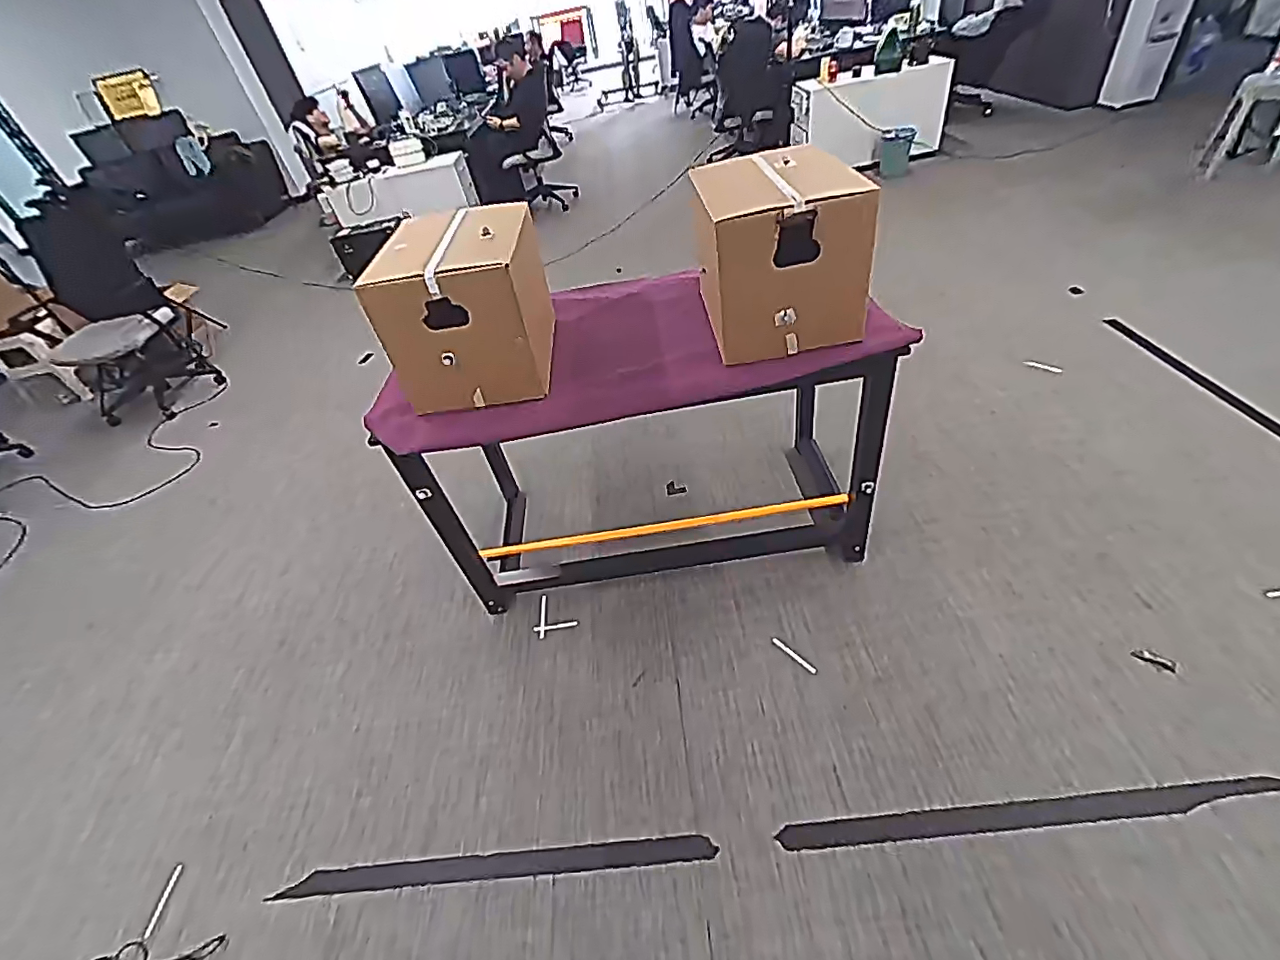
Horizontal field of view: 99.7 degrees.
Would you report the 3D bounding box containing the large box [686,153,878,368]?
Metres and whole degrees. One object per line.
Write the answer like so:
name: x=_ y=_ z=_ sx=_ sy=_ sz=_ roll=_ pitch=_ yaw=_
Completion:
large box: x=0.301 y=-0.509 z=1.241 sx=0.320 sy=0.320 sz=0.408 roll=-9 pitch=41 yaw=3
